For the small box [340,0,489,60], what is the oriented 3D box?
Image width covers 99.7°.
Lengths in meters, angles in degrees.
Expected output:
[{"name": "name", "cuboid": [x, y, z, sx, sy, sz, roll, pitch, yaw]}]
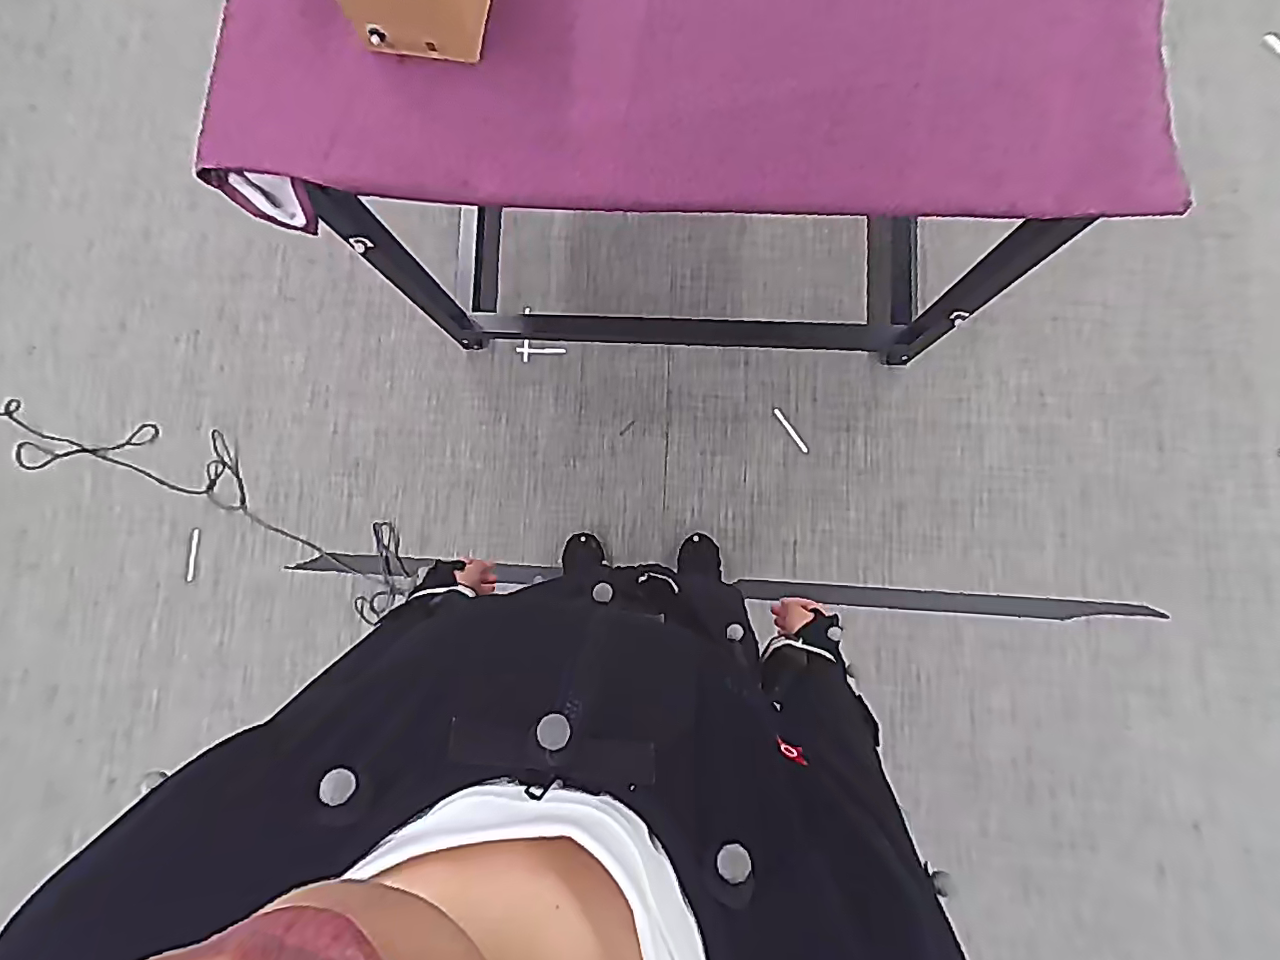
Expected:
[{"name": "small box", "cuboid": [-0.296, -0.684, 0.687, 0.168, 0.176, 0.179, 9, 84, 3]}]
